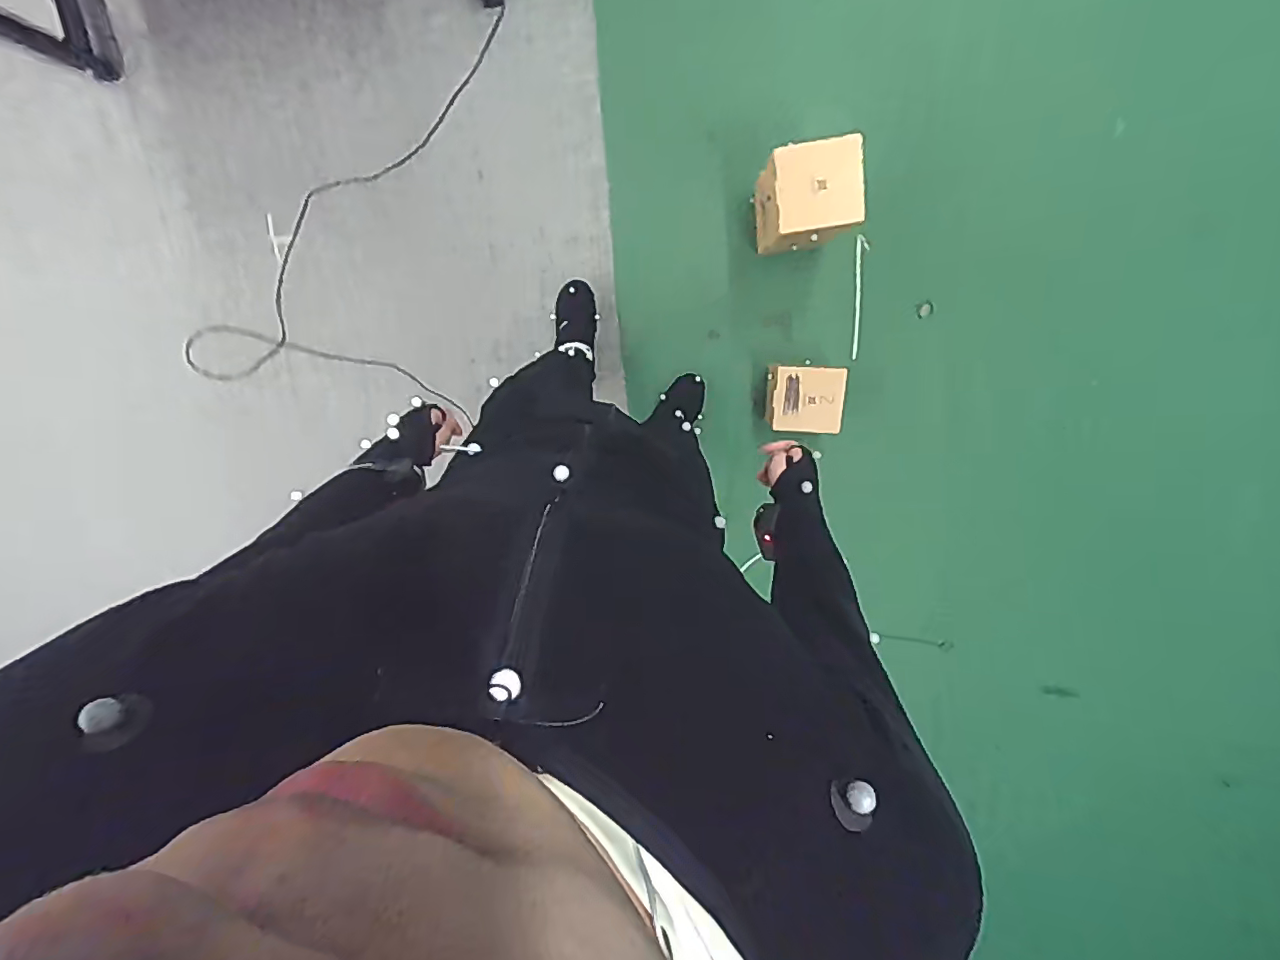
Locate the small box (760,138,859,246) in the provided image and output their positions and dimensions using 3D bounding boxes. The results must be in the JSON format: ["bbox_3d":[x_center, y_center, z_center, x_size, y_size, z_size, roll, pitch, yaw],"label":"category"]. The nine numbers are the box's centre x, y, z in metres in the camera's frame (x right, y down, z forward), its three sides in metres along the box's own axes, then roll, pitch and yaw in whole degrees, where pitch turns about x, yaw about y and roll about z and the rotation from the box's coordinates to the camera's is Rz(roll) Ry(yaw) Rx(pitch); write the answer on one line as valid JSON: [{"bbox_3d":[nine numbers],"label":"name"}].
[{"bbox_3d":[0.366,-0.624,1.190,0.179,0.176,0.168,-6,104,7],"label":"small box"}]

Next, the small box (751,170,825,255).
[{"bbox_3d":[0.373,-0.668,1.346,0.179,0.176,0.168,-5,104,6],"label":"small box"}]
